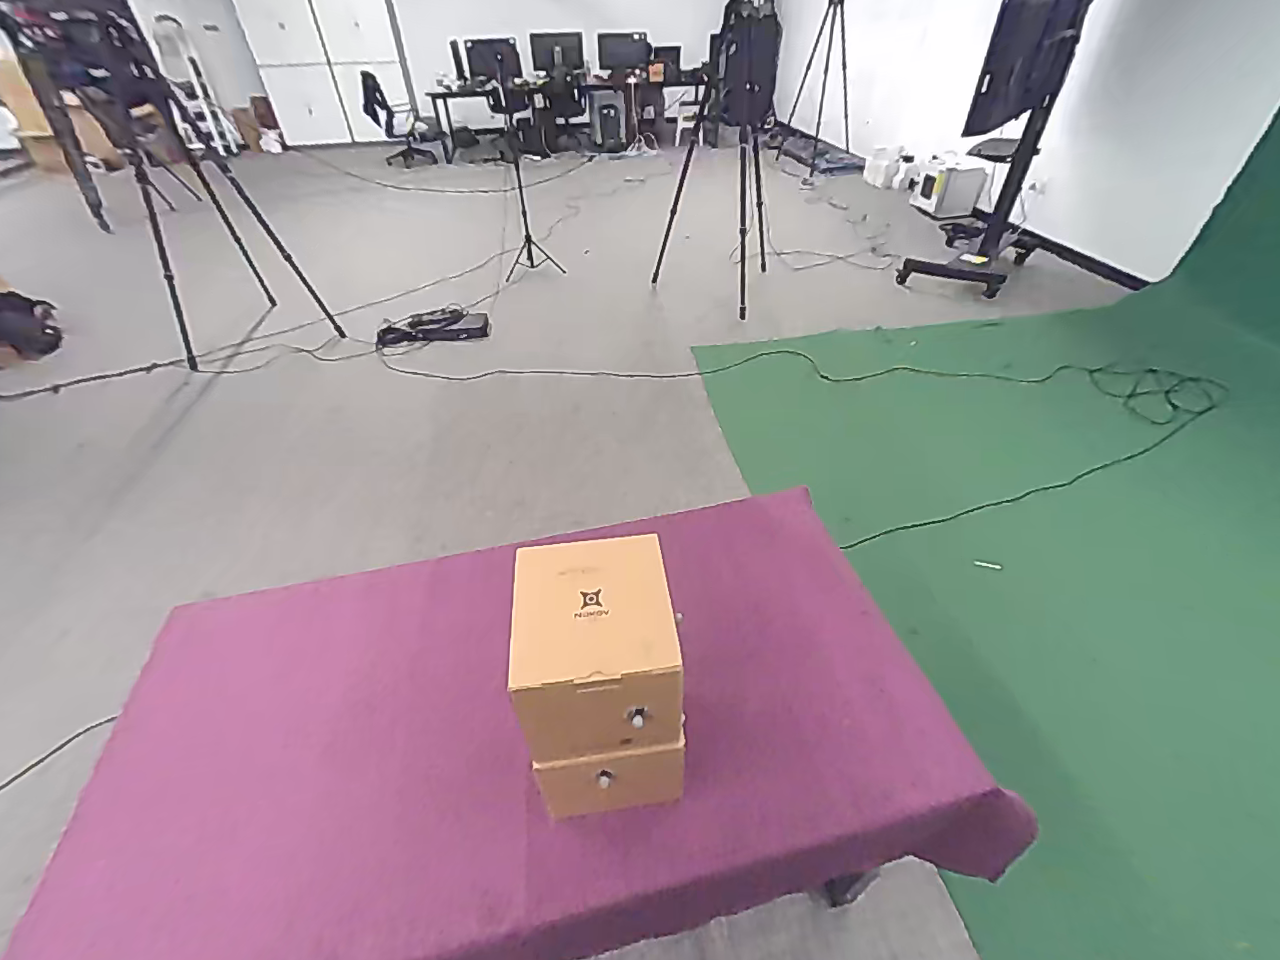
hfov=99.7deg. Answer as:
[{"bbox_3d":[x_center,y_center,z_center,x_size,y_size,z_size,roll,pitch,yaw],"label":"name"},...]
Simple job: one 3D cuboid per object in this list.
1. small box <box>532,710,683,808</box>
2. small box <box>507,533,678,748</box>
[{"bbox_3d":[-0.040,0.314,0.722,0.179,0.176,0.168,-7,42,-3],"label":"small box"},{"bbox_3d":[-0.048,0.187,0.620,0.168,0.176,0.179,-6,41,-3],"label":"small box"}]
